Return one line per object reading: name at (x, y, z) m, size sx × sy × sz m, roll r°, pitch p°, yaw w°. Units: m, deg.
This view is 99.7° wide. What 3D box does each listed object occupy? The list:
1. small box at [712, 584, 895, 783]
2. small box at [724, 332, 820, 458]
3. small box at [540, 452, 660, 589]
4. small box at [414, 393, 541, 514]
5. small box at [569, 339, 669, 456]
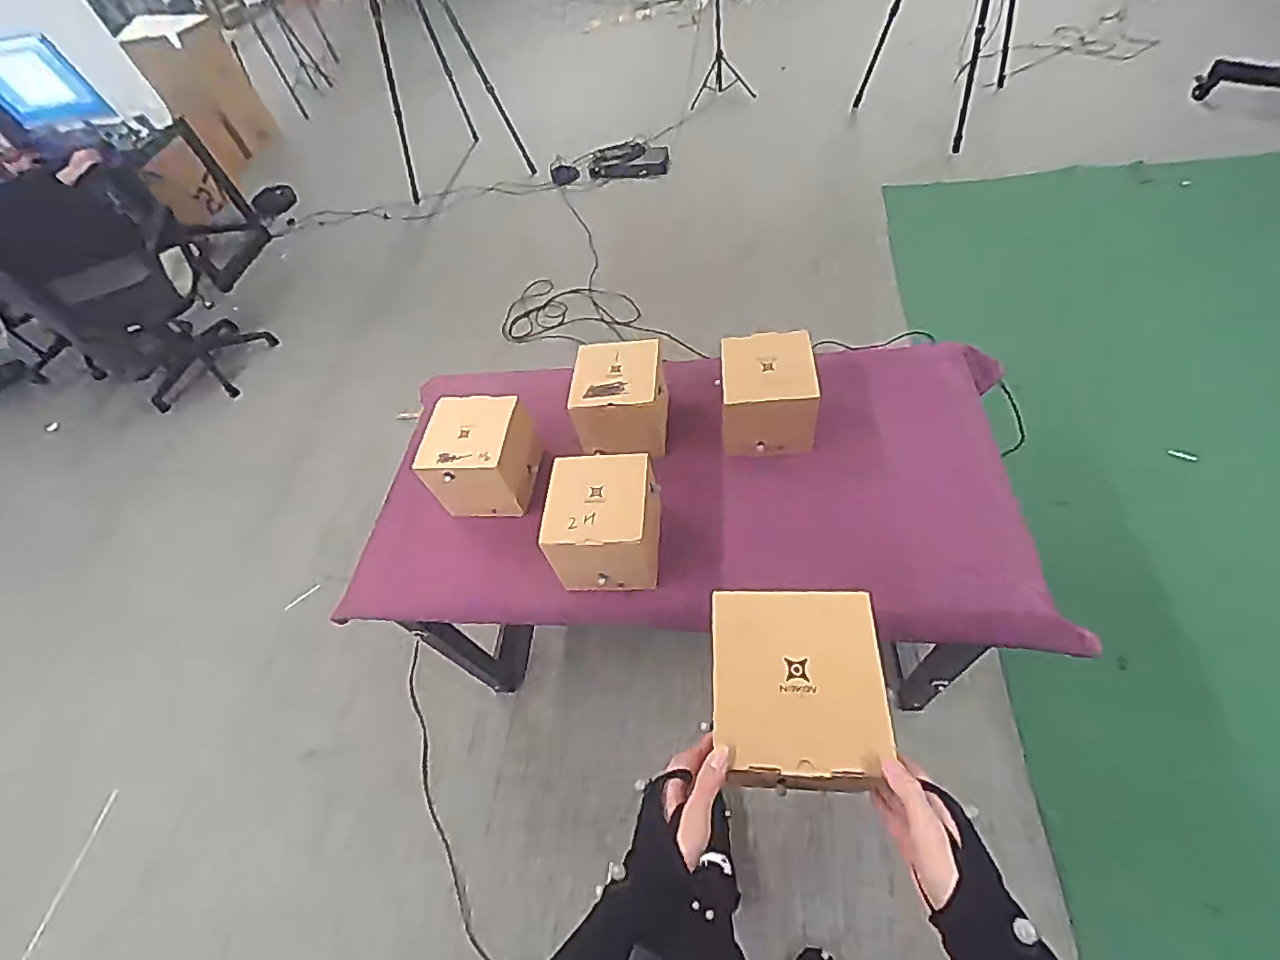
small box at (0.166, 0.232, 0.609) m, size 0.168 × 0.176 × 0.179 m, roll -1°, pitch 58°, yaw 8°
small box at (0.247, -0.161, 1.050) m, size 0.168 × 0.176 × 0.179 m, roll -2°, pitch 55°, yaw 10°
small box at (-0.059, 0.072, 0.937) m, size 0.168 × 0.176 × 0.179 m, roll -2°, pitch 54°, yaw 10°
small box at (-0.307, -0.051, 1.068) m, size 0.168 × 0.176 × 0.179 m, roll -1°, pitch 55°, yaw 12°
small box at (-0.034, -0.161, 1.100) m, size 0.168 × 0.176 × 0.179 m, roll -1°, pitch 54°, yaw 9°
